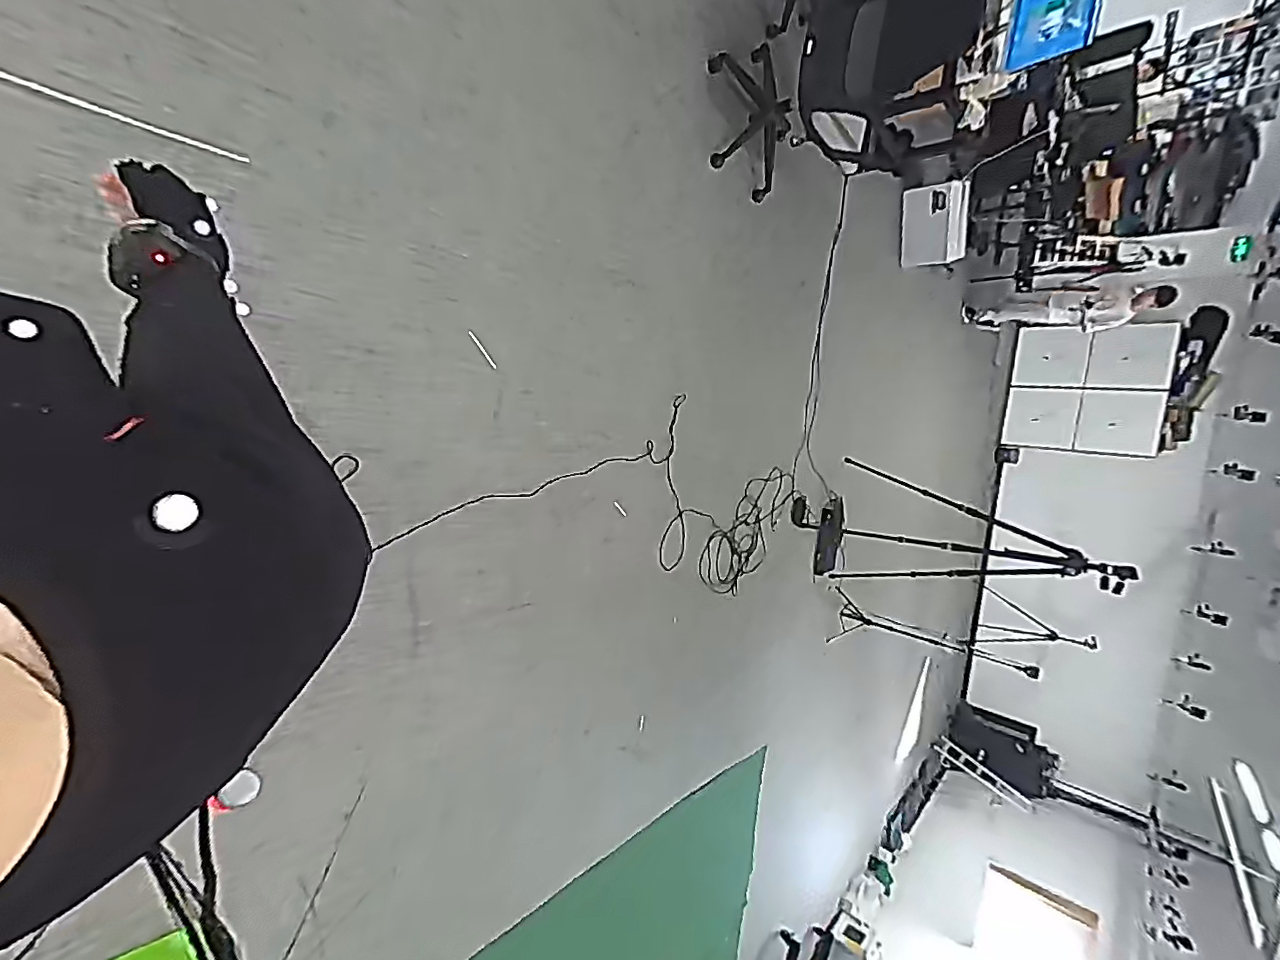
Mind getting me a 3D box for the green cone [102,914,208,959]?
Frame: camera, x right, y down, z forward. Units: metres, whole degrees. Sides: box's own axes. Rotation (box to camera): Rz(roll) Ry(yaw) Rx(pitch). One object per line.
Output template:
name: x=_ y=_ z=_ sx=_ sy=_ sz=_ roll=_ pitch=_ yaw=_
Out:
green cone: x=-1.032 y=1.195 z=1.174 sx=0.200 sy=0.368 sz=0.202 roll=3 pitch=95 yaw=-49
